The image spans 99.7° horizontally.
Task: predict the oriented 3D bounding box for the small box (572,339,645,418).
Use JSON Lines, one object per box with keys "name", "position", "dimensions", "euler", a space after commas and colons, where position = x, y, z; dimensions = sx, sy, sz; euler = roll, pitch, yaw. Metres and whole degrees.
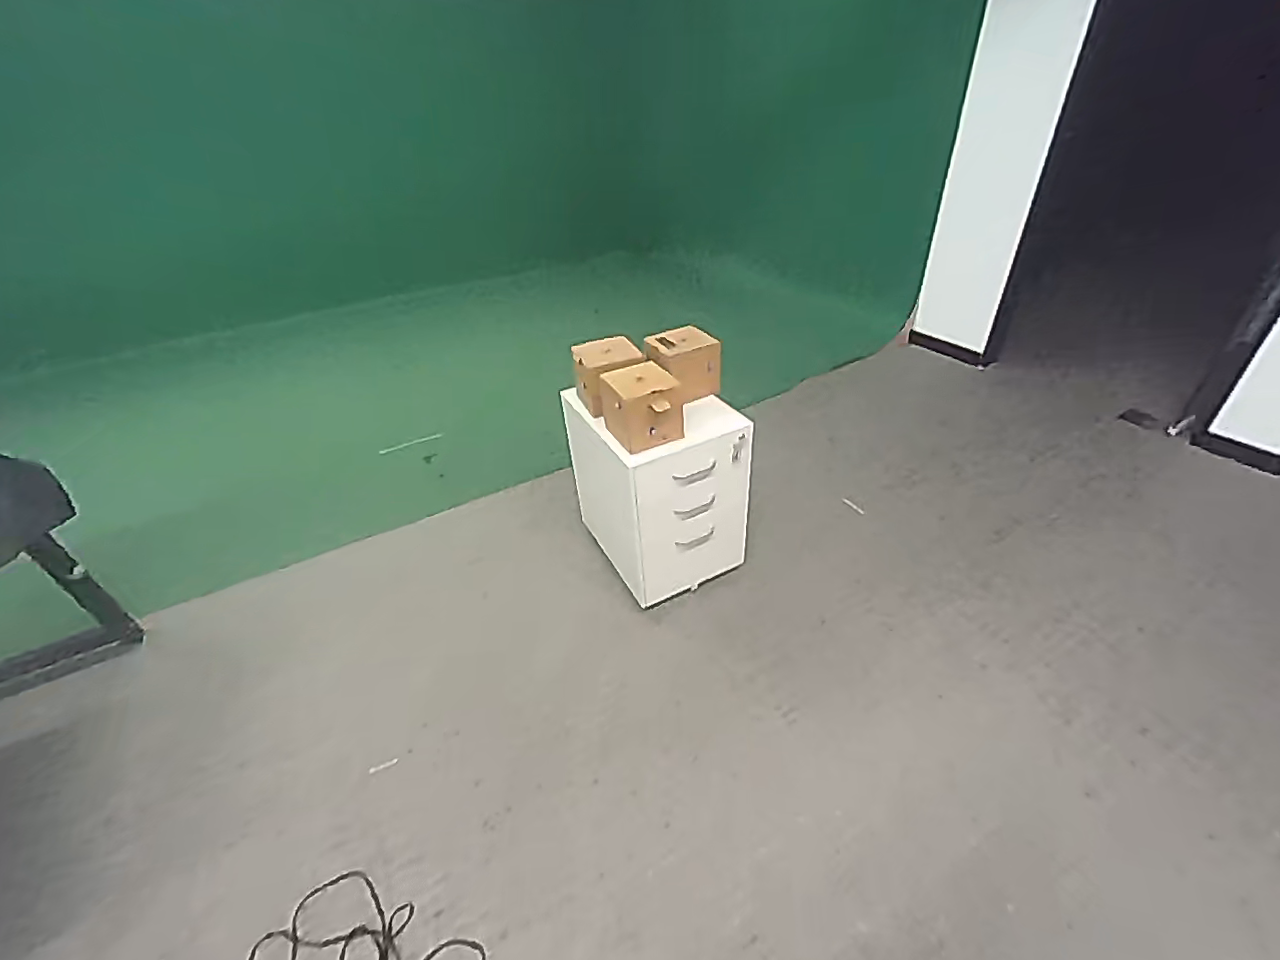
{"name": "small box", "position": [-0.092, -0.306, 1.639], "dimensions": [0.179, 0.176, 0.168], "euler": [-16, 39, -17]}
